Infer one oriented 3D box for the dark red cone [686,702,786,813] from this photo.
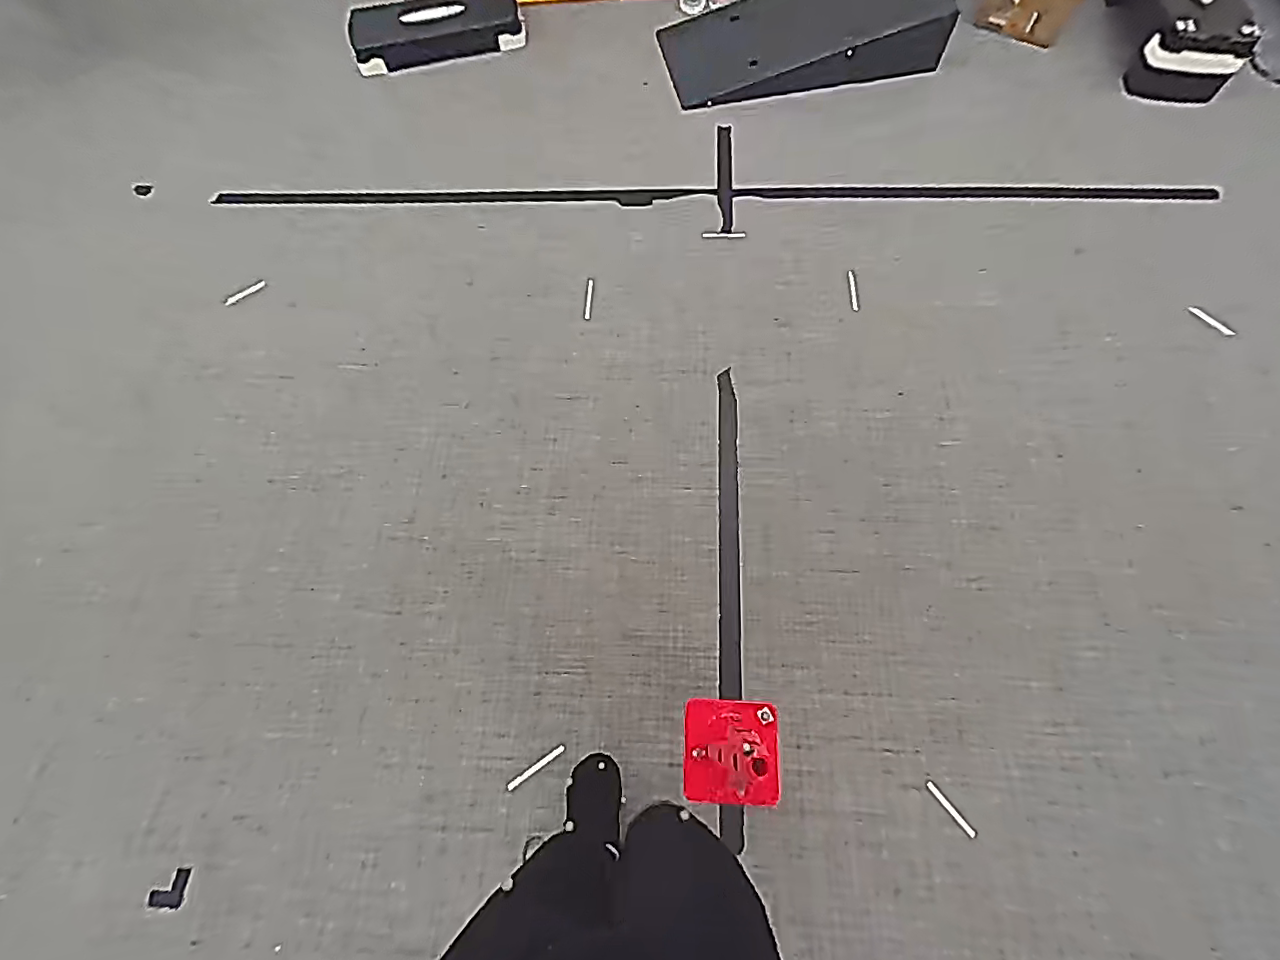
[{"bbox_3d":[0.188,0.506,0.967,0.201,0.394,0.202,1,67,3],"label":"dark red cone"}]
